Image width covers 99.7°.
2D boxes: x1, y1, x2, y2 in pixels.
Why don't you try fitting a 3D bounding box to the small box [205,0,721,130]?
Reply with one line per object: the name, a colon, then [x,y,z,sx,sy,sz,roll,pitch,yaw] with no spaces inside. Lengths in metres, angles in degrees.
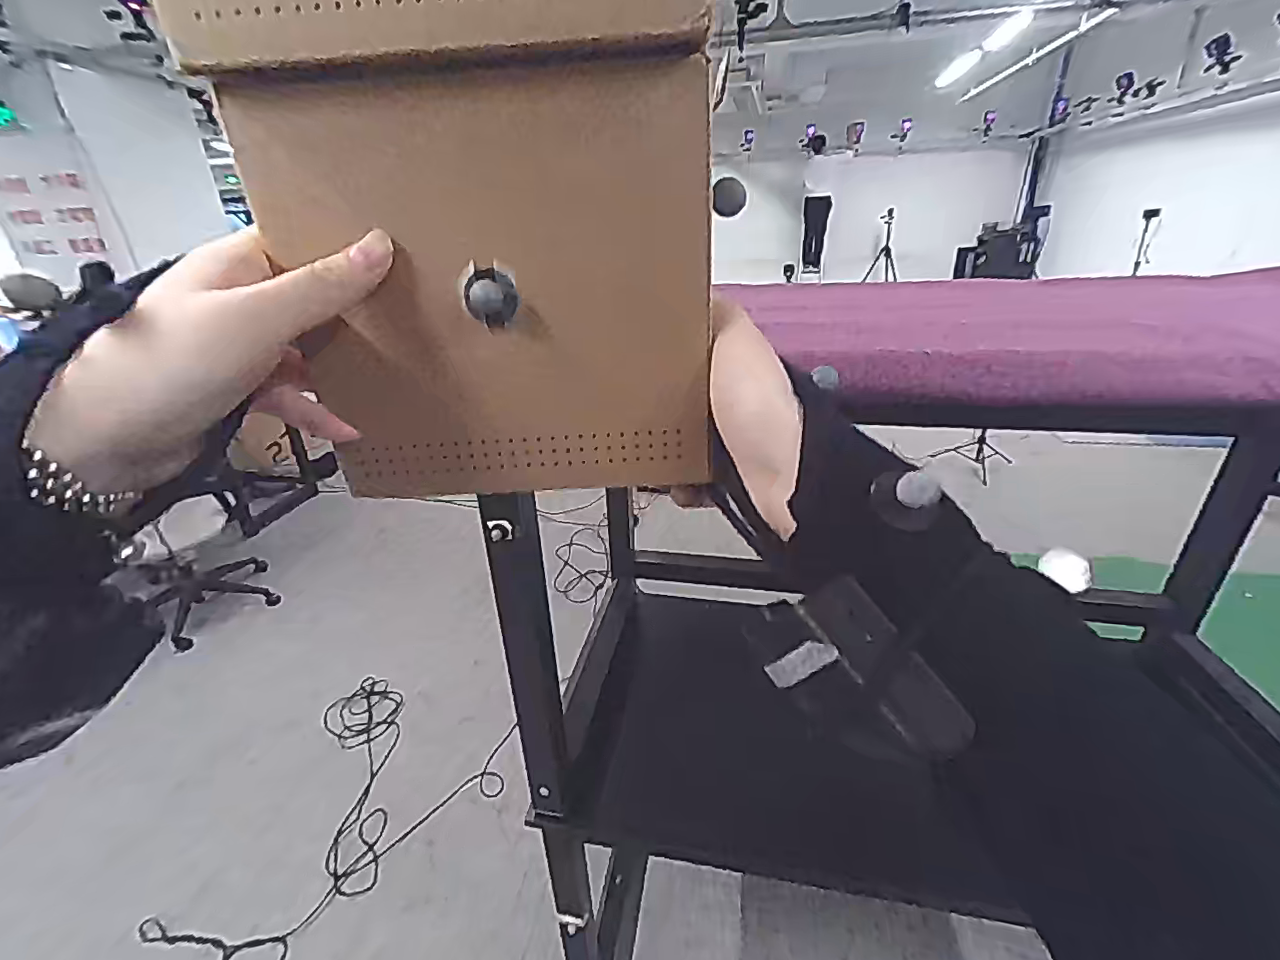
small box: [-0.063,-0.247,0.213,0.179,0.176,0.168,-2,27,2]
